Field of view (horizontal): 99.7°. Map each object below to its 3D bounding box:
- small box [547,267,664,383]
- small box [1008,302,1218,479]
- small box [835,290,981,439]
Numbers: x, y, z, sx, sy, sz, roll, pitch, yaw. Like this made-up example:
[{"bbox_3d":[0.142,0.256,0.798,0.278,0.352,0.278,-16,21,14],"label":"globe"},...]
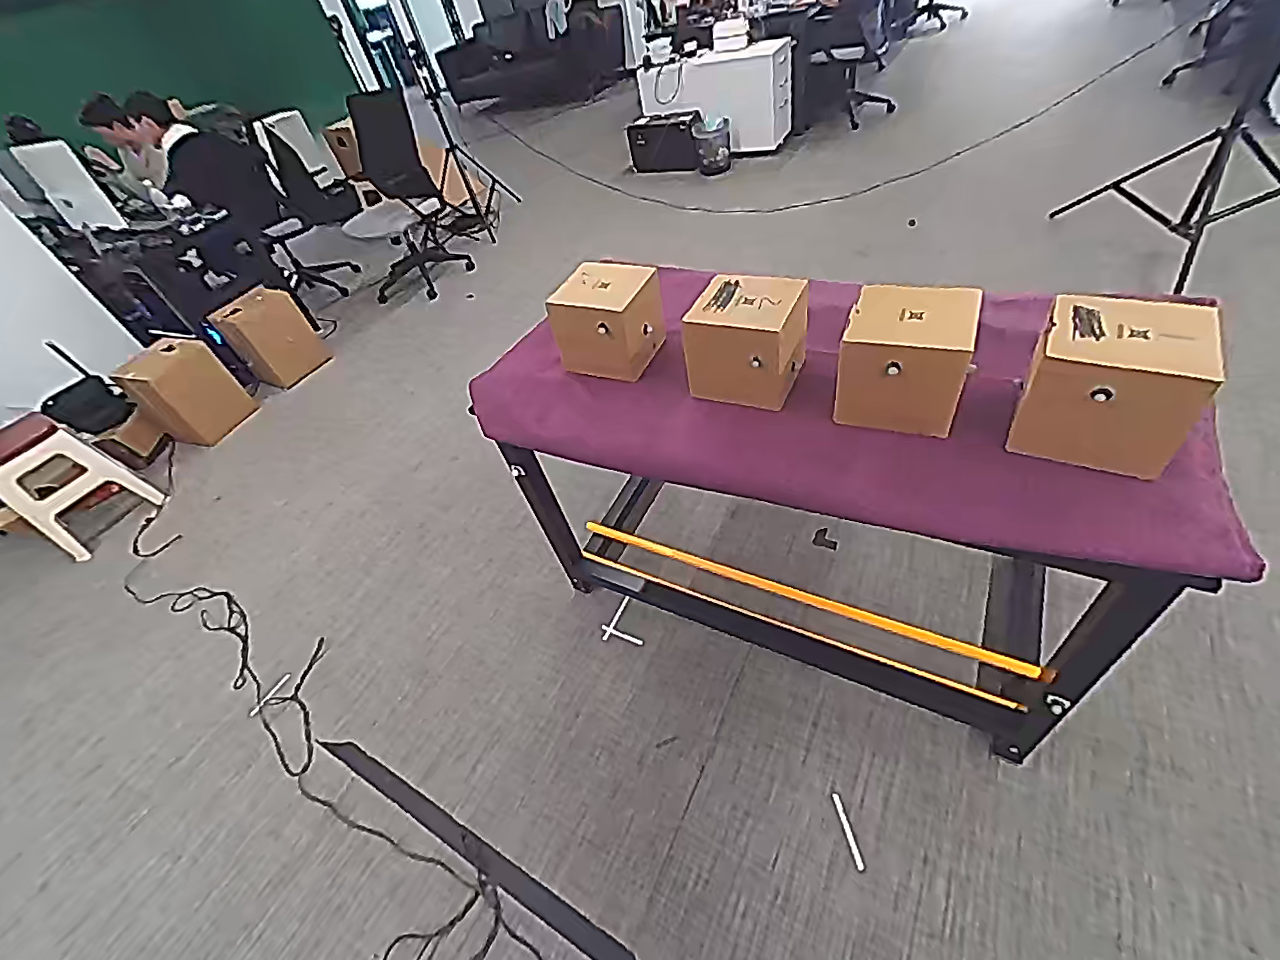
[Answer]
[{"bbox_3d":[-0.061,-0.323,1.136,0.179,0.176,0.168,14,52,23],"label":"small box"},{"bbox_3d":[0.642,-0.125,0.754,0.179,0.176,0.168,18,53,29],"label":"small box"},{"bbox_3d":[0.428,-0.186,0.878,0.179,0.176,0.168,12,51,26],"label":"small box"}]
